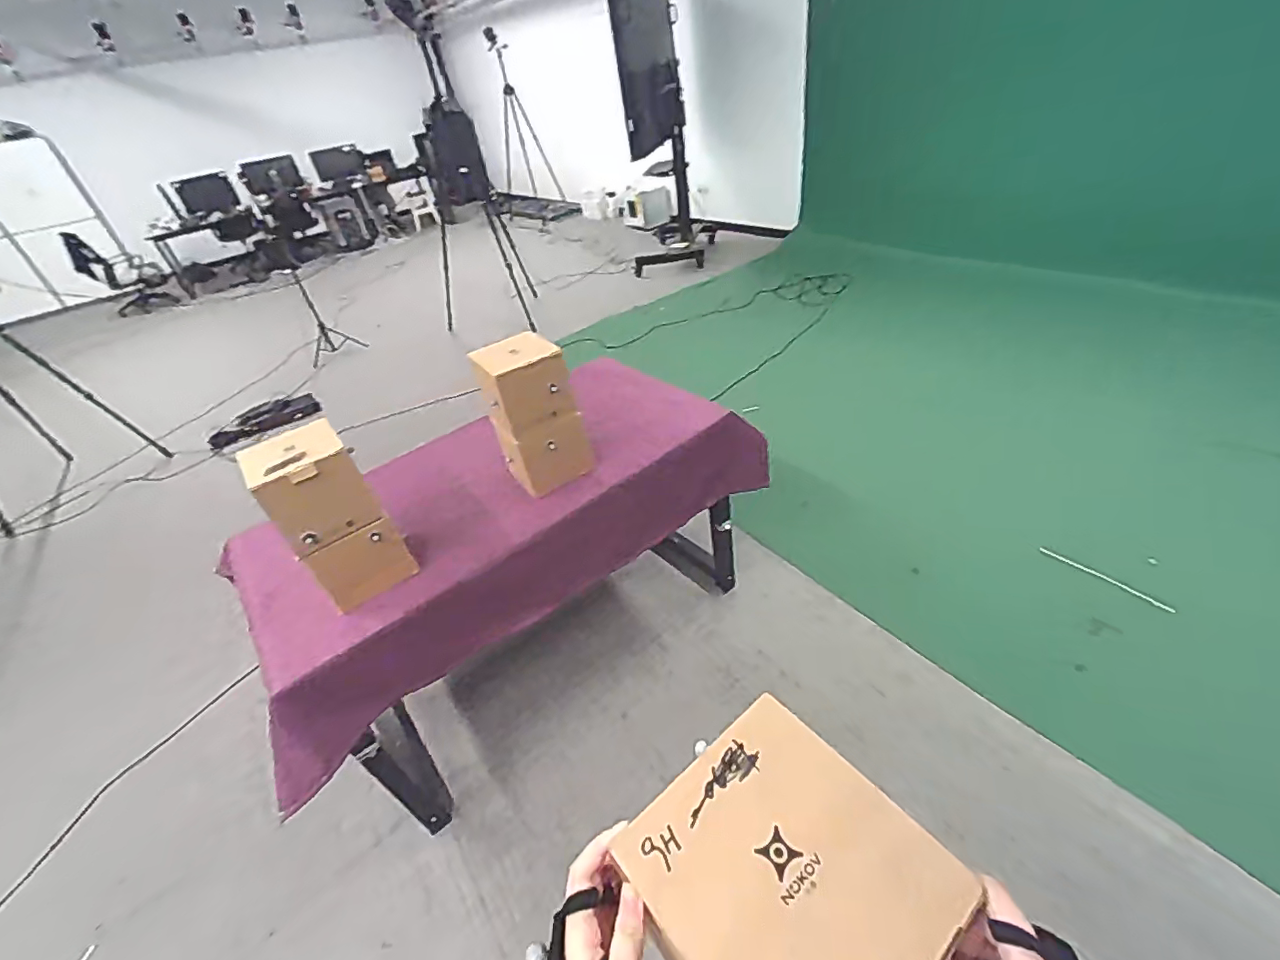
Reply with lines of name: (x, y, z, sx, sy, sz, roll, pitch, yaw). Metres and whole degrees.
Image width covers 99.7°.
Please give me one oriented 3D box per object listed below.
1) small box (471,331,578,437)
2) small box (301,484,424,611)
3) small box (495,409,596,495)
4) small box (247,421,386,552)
small box: (-0.265, -0.221, 1.263, 0.168, 0.176, 0.179, -29, 40, -21)
small box: (-0.597, 0.145, 1.157, 0.179, 0.176, 0.168, -31, 41, -24)
small box: (-0.232, -0.091, 1.356, 0.179, 0.176, 0.168, -29, 41, -21)
small box: (-0.628, 0.015, 1.060, 0.168, 0.176, 0.179, -32, 40, -25)
